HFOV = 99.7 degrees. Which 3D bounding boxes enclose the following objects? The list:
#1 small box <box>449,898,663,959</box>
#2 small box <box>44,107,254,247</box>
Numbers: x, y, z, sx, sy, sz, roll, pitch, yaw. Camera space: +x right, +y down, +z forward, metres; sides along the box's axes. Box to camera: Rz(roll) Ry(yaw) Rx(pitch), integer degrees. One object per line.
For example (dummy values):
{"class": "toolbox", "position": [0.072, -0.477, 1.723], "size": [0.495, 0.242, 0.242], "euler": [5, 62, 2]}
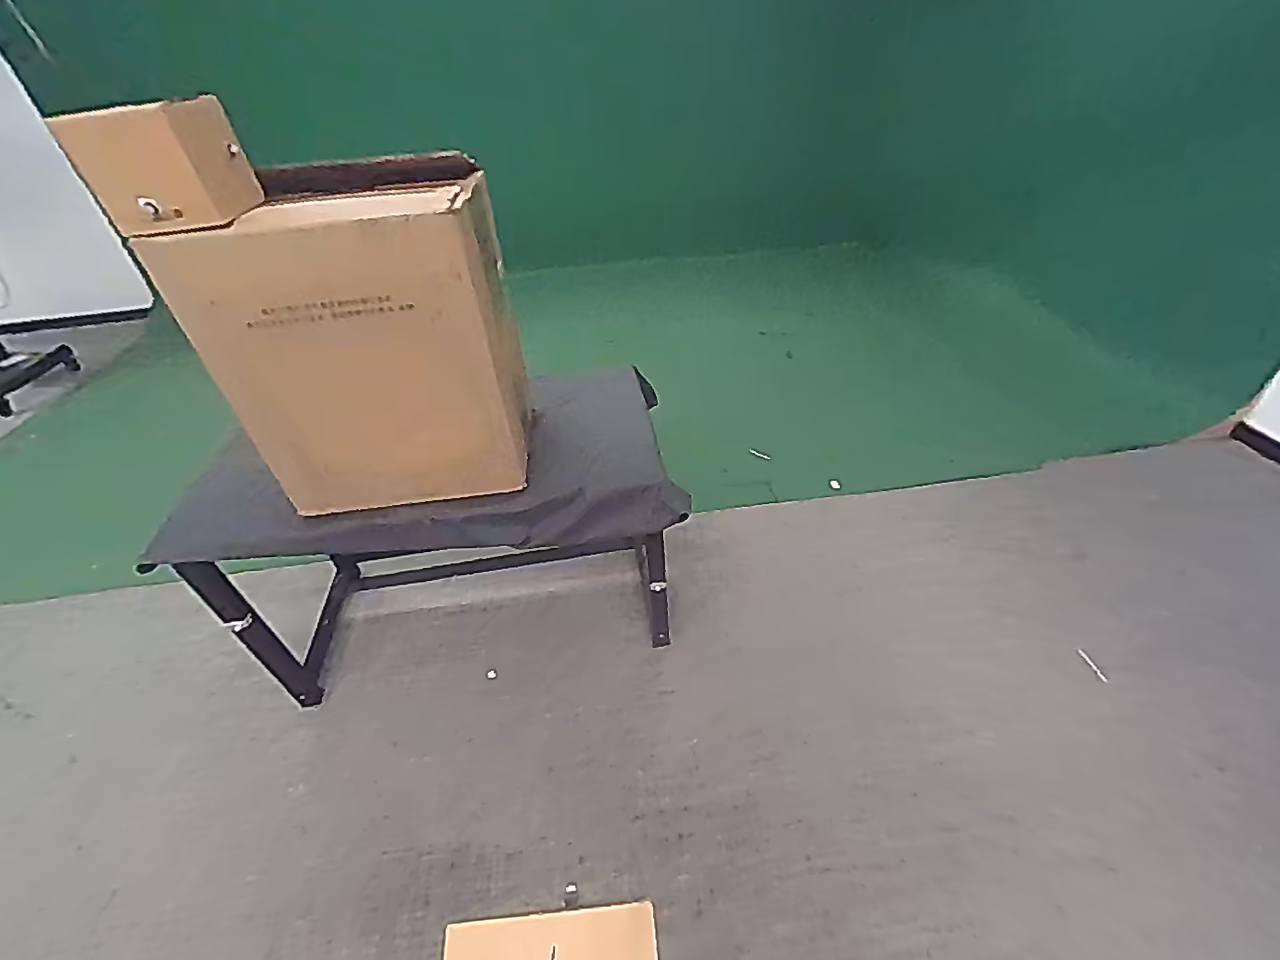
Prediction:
{"class": "small box", "position": [-0.059, 0.458, 0.440], "size": [0.168, 0.176, 0.179], "euler": [-4, 52, -5]}
{"class": "small box", "position": [-0.791, -0.504, 0.901], "size": [0.168, 0.176, 0.179], "euler": [-11, 40, -3]}
